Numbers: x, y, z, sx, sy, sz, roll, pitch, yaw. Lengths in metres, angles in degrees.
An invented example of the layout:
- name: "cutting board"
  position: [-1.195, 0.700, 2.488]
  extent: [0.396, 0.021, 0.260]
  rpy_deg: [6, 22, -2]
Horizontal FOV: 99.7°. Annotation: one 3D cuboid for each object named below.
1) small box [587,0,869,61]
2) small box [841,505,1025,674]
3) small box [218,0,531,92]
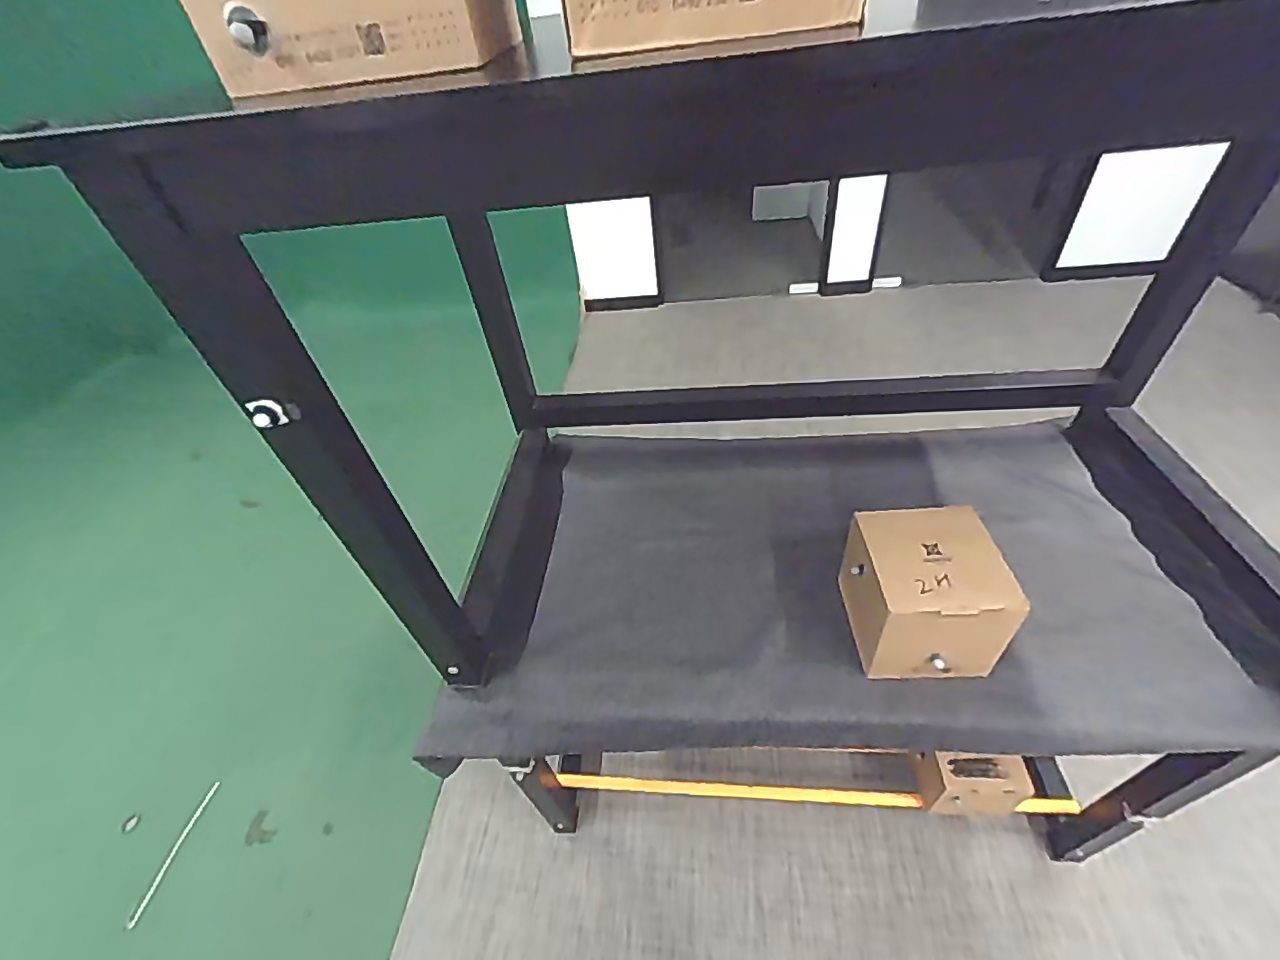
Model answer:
- name: "small box"
  position: [0.048, -0.368, 0.323]
  extent: [0.168, 0.176, 0.179]
  rpy_deg: [-2, 44, 7]
- name: "small box"
  position: [0.400, 0.157, 0.780]
  extent: [0.168, 0.176, 0.179]
  rpy_deg: [-3, 42, 6]
- name: "small box"
  position: [-0.178, -0.369, 0.355]
  extent: [0.168, 0.176, 0.179]
  rpy_deg: [-4, 42, 3]
